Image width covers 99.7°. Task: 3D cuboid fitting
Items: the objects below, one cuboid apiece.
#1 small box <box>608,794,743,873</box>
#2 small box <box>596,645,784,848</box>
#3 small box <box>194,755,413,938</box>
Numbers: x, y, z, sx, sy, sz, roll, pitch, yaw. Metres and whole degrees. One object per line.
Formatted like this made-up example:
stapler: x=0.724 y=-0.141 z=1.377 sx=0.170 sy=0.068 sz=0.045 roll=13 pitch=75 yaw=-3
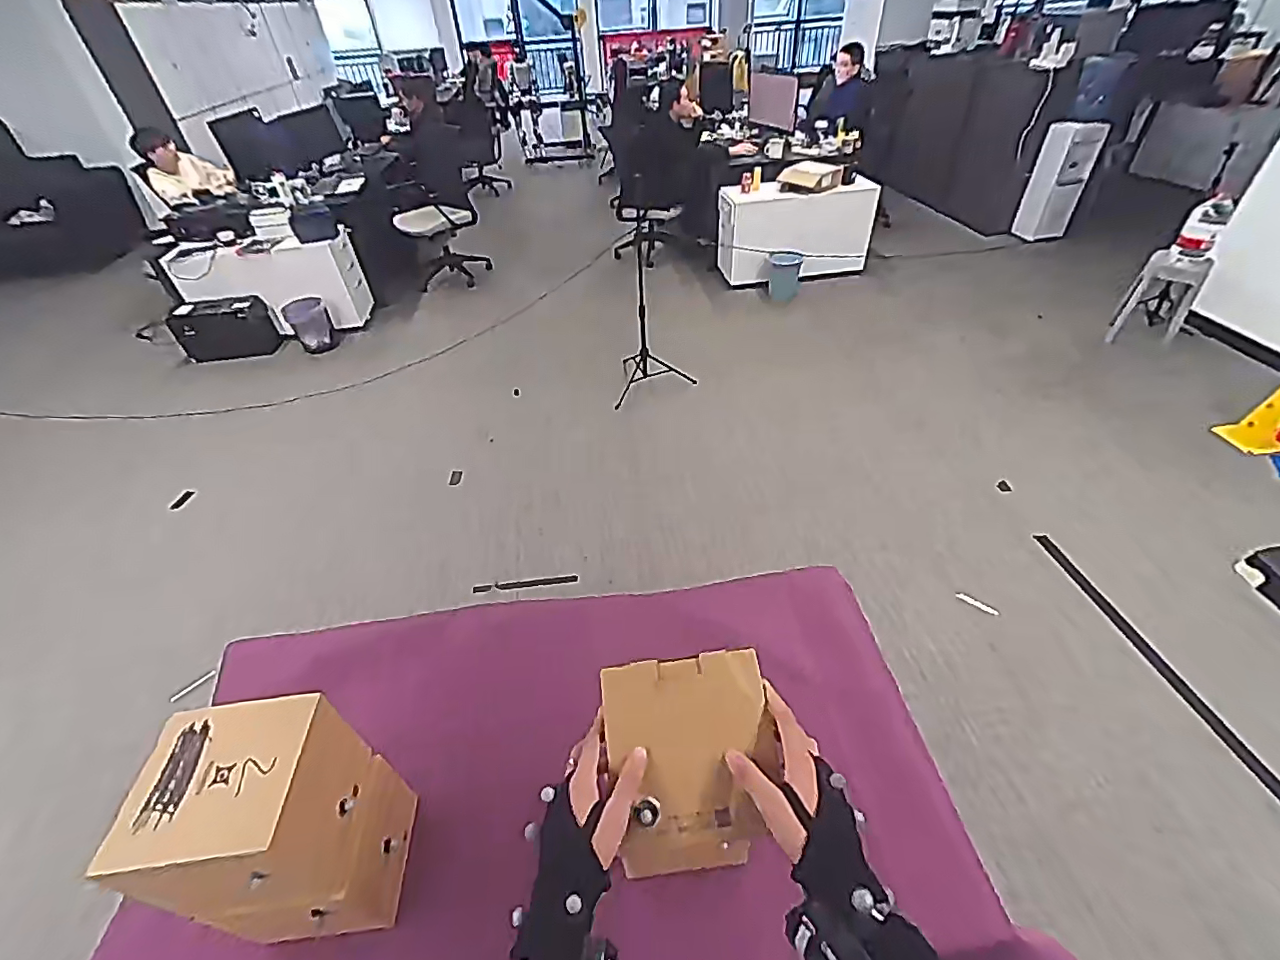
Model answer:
small box: x=0.048 y=0.438 z=0.774 sx=0.179 sy=0.176 sz=0.168 roll=-6 pitch=42 yaw=-3
small box: x=0.049 y=0.293 z=0.600 sx=0.168 sy=0.179 sz=0.176 roll=-7 pitch=63 yaw=-1
small box: x=-0.435 y=0.501 z=0.740 sx=0.179 sy=0.176 sz=0.168 roll=-6 pitch=42 yaw=-2
